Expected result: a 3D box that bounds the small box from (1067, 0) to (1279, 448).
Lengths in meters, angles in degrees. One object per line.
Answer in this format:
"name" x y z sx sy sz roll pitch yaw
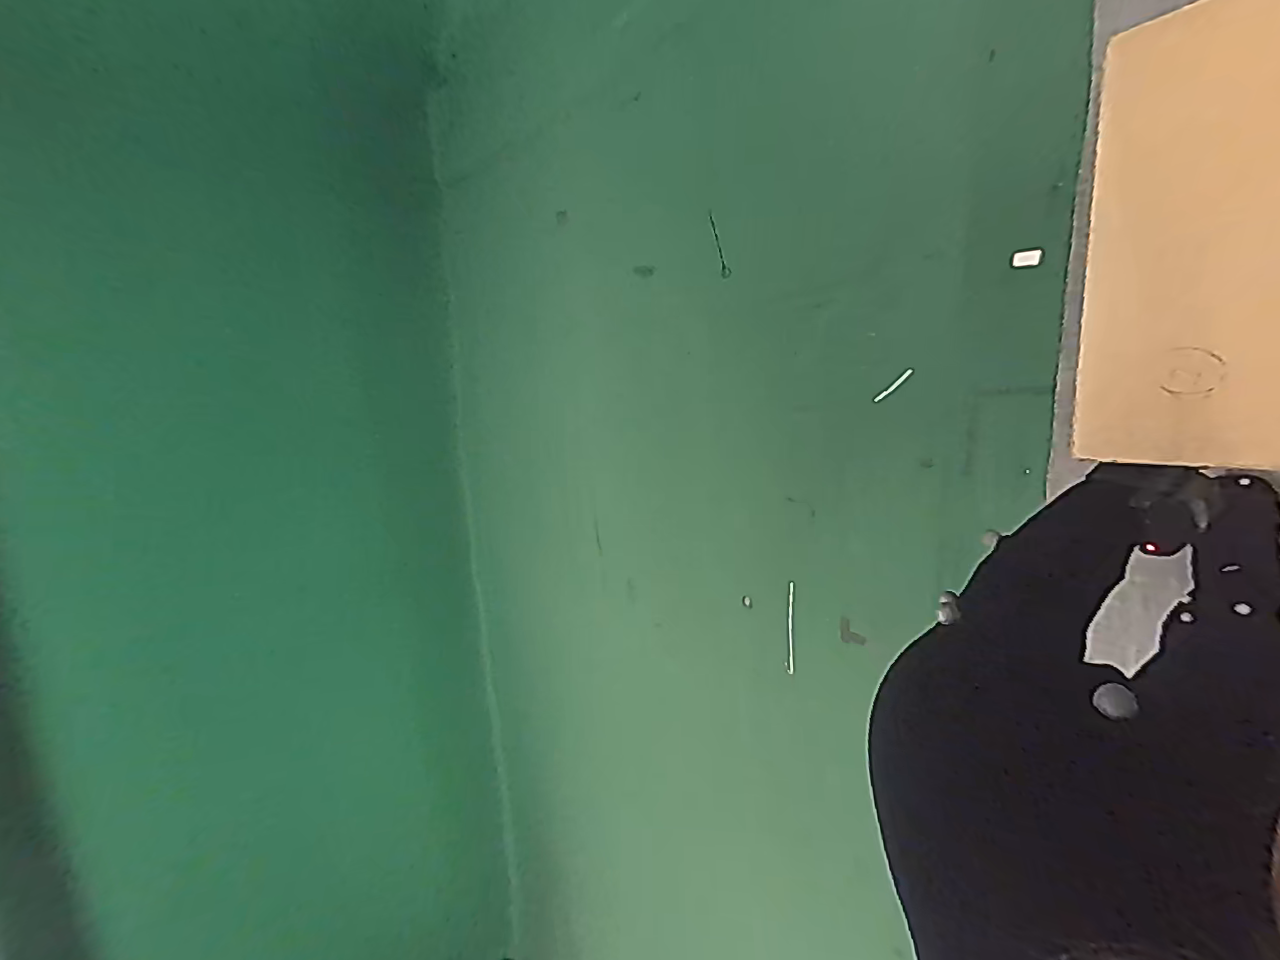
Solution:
"small box" 0.299 -0.095 0.207 0.179 0.176 0.168 7 101 50
